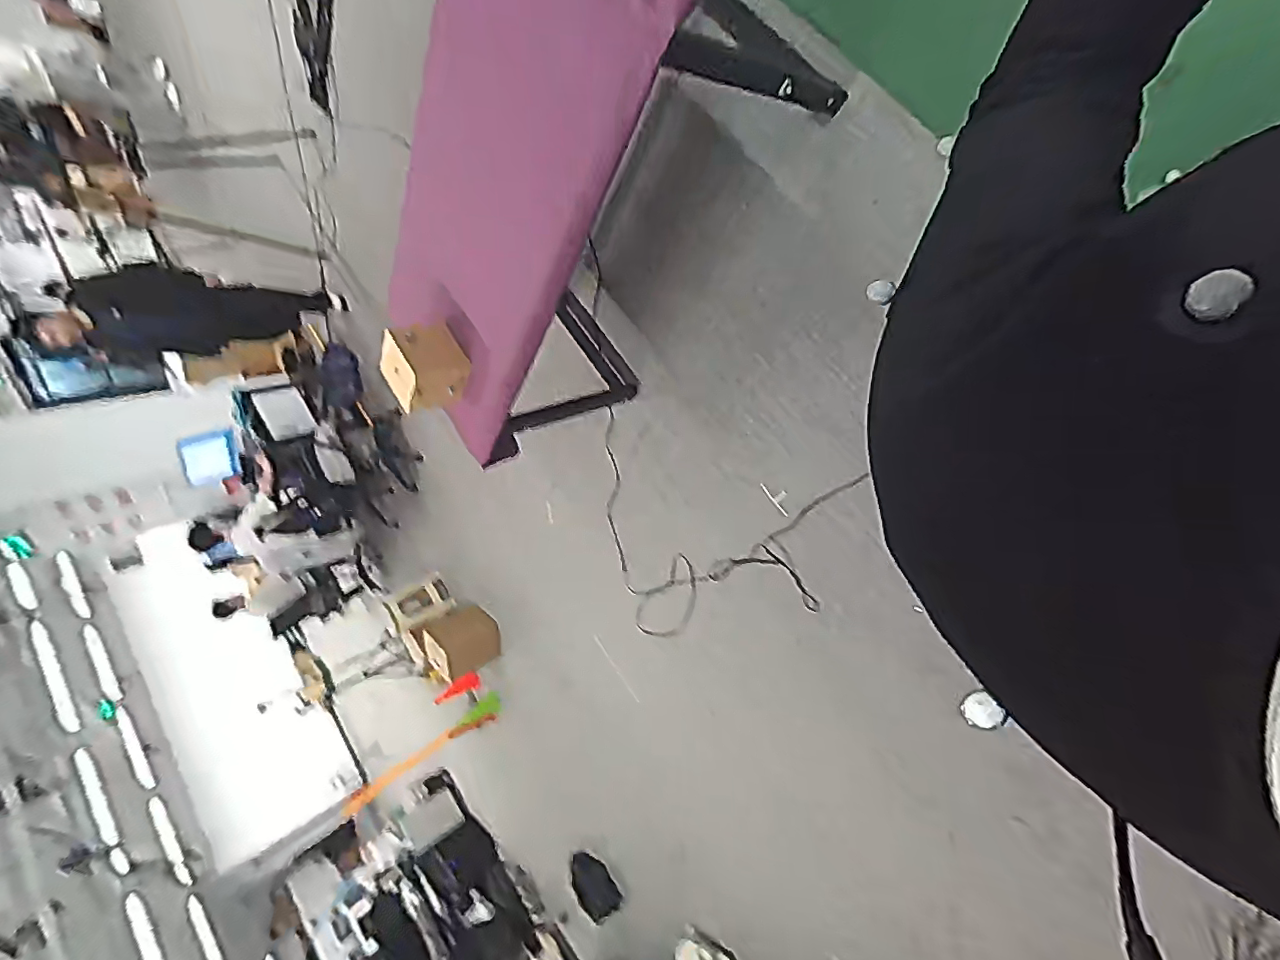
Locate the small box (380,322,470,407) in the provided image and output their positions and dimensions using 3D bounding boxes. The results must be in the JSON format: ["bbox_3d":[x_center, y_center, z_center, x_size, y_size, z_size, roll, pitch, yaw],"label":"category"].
[{"bbox_3d":[-0.617,-0.337,1.552,0.179,0.176,0.168,55,137,13],"label":"small box"}]
